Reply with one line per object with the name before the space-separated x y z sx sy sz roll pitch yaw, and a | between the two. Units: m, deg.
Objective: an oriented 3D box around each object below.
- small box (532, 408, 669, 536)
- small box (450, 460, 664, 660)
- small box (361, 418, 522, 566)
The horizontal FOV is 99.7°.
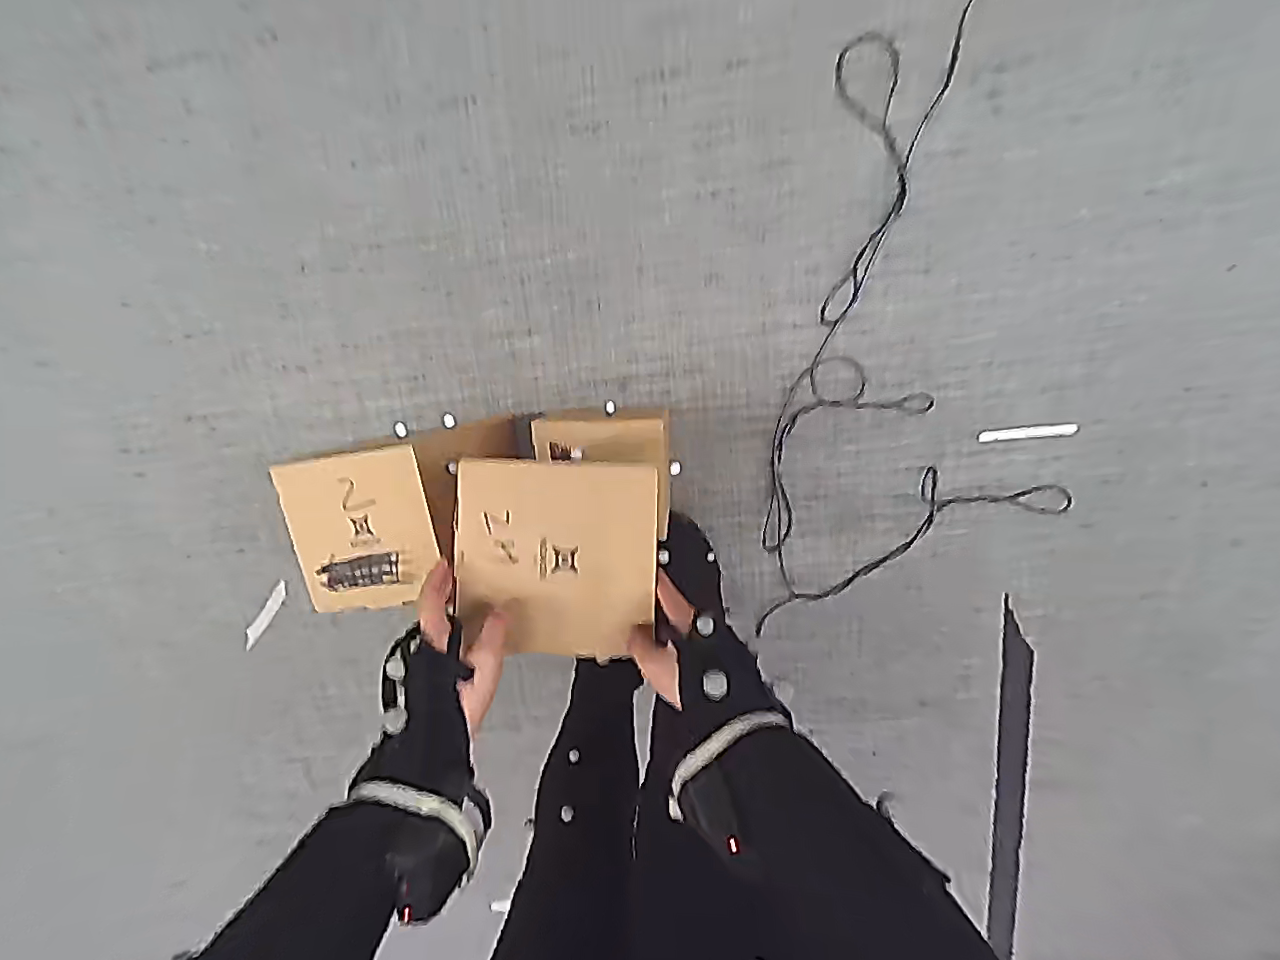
small box | -0.048 -0.016 0.795 0.179 0.176 0.168 0 103 4
small box | -0.070 0.070 0.534 0.179 0.176 0.168 2 87 0
small box | -0.279 0.008 0.823 0.168 0.176 0.179 -13 102 7
